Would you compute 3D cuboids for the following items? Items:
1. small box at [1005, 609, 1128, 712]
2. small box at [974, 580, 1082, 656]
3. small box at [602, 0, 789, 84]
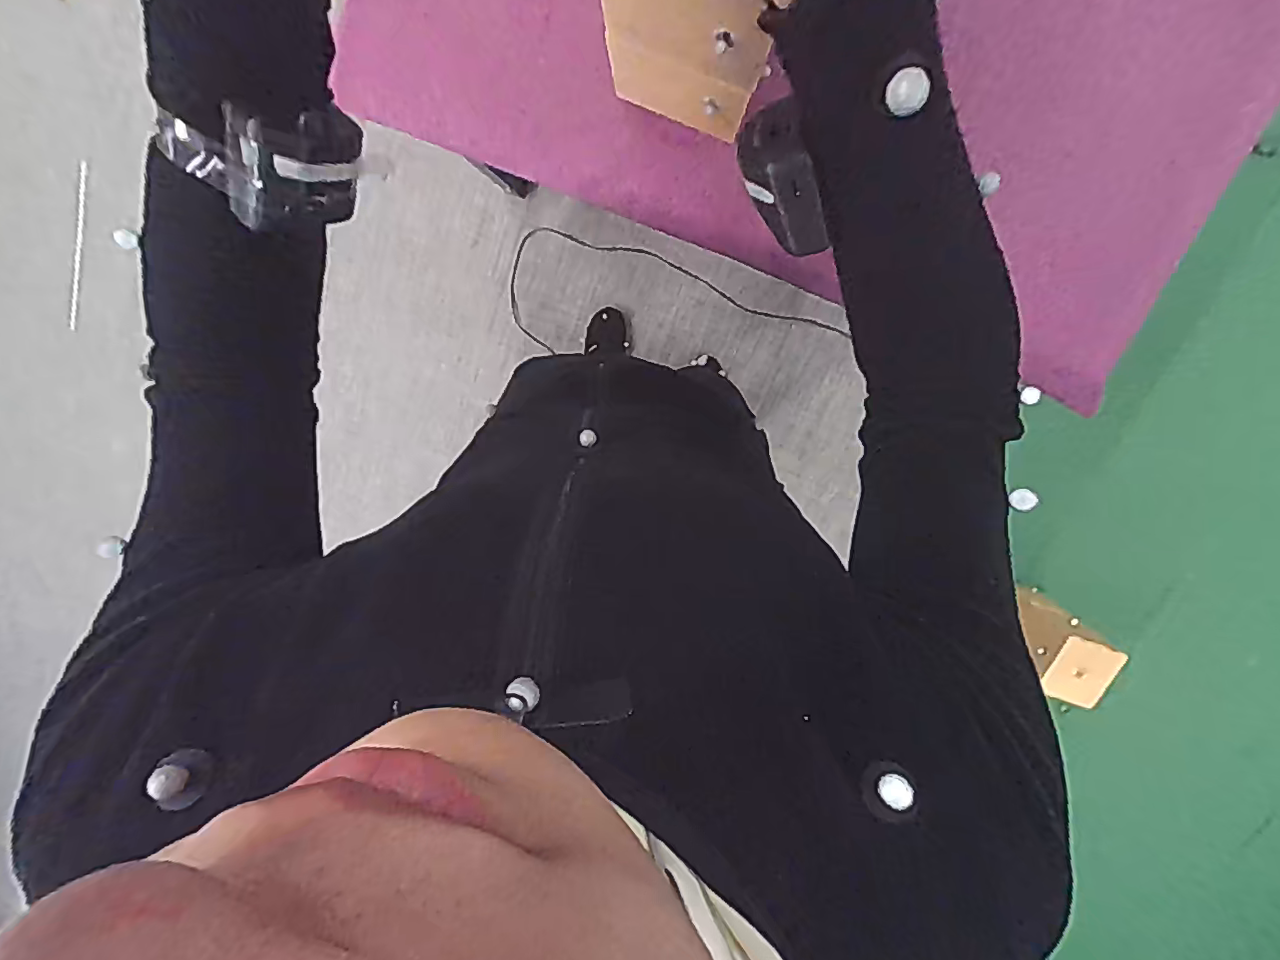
[{"bbox_3d":[1.136,0.481,1.463,0.168,0.176,0.179,19,104,-2],"label":"small box"},{"bbox_3d":[1.145,0.431,1.617,0.168,0.176,0.179,22,105,-3],"label":"small box"},{"bbox_3d":[0.068,-0.509,0.499,0.179,0.176,0.168,21,105,-3],"label":"small box"}]
